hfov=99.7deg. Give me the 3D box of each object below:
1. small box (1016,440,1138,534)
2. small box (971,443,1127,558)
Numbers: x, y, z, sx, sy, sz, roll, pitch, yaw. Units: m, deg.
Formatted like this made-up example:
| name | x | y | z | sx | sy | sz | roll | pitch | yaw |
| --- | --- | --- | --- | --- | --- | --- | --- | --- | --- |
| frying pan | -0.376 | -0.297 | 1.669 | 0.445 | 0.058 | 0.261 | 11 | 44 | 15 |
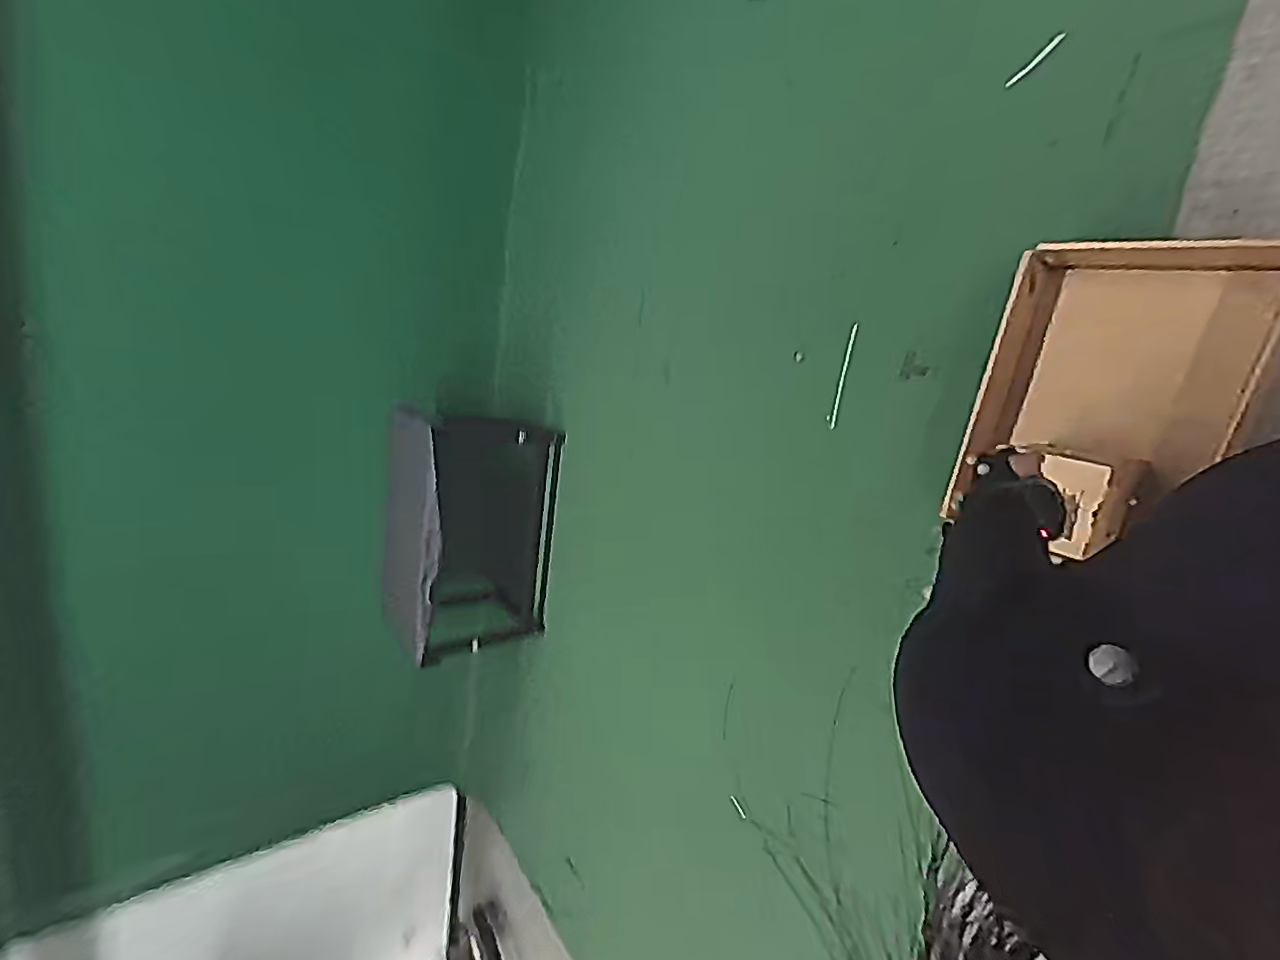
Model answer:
| name | x | y | z | sx | sy | sz | roll | pitch | yaw |
| --- | --- | --- | --- | --- | --- | --- | --- | --- | --- |
| small box | 0.881 | 0.016 | 1.117 | 0.179 | 0.176 | 0.168 | 21 | 108 | 48 |
| small box | 0.761 | 0.029 | 1.005 | 0.179 | 0.176 | 0.168 | 23 | 108 | 48 |
